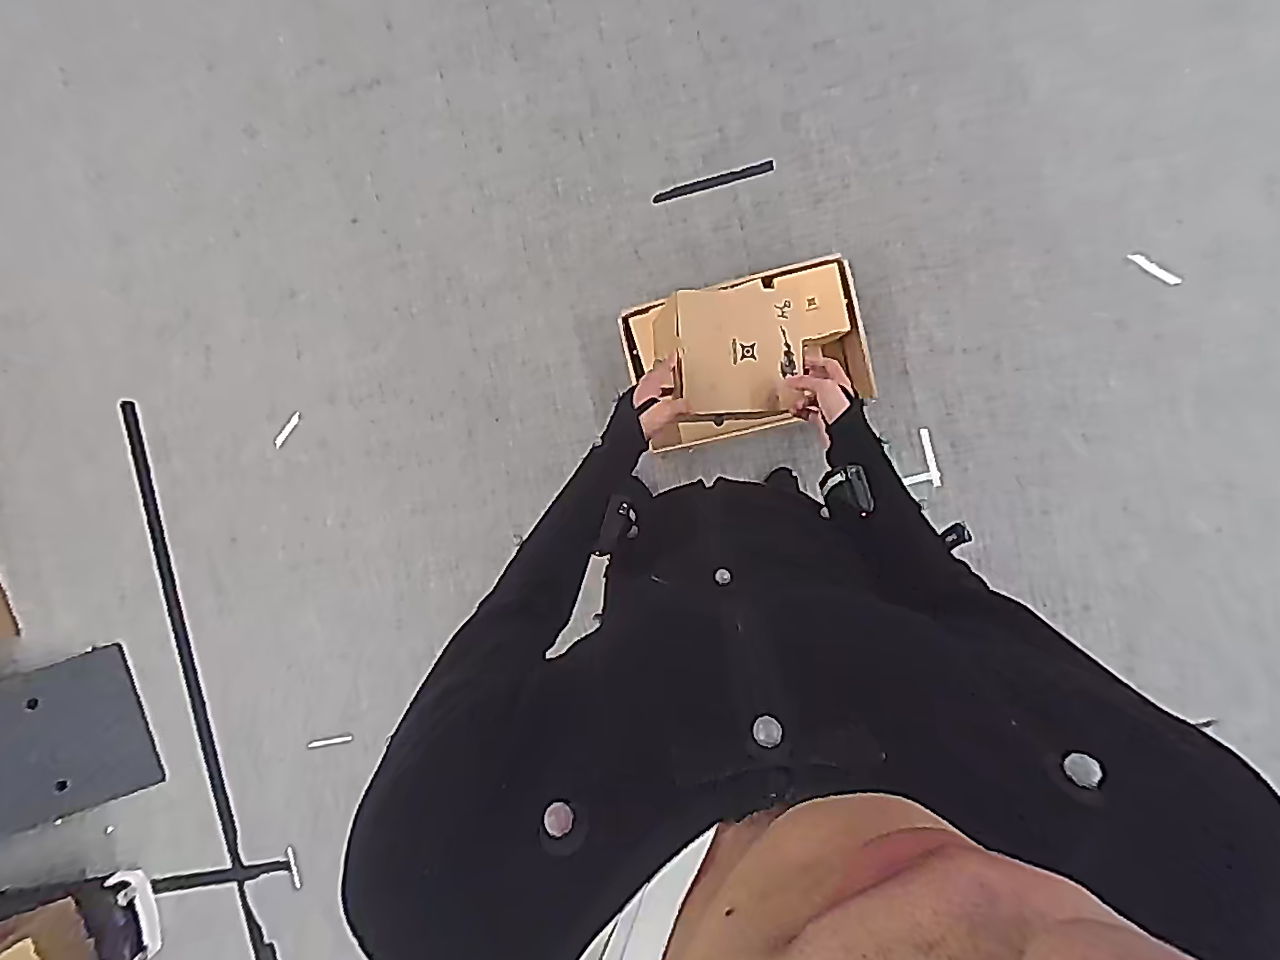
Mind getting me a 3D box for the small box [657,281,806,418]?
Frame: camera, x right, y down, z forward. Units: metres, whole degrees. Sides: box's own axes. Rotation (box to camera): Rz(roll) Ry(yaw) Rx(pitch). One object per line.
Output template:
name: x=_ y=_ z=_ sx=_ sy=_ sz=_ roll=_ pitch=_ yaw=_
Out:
small box: x=0.122 y=-0.181 z=0.789 sx=0.179 sy=0.176 sz=0.168 roll=-4 pitch=94 yaw=-8
